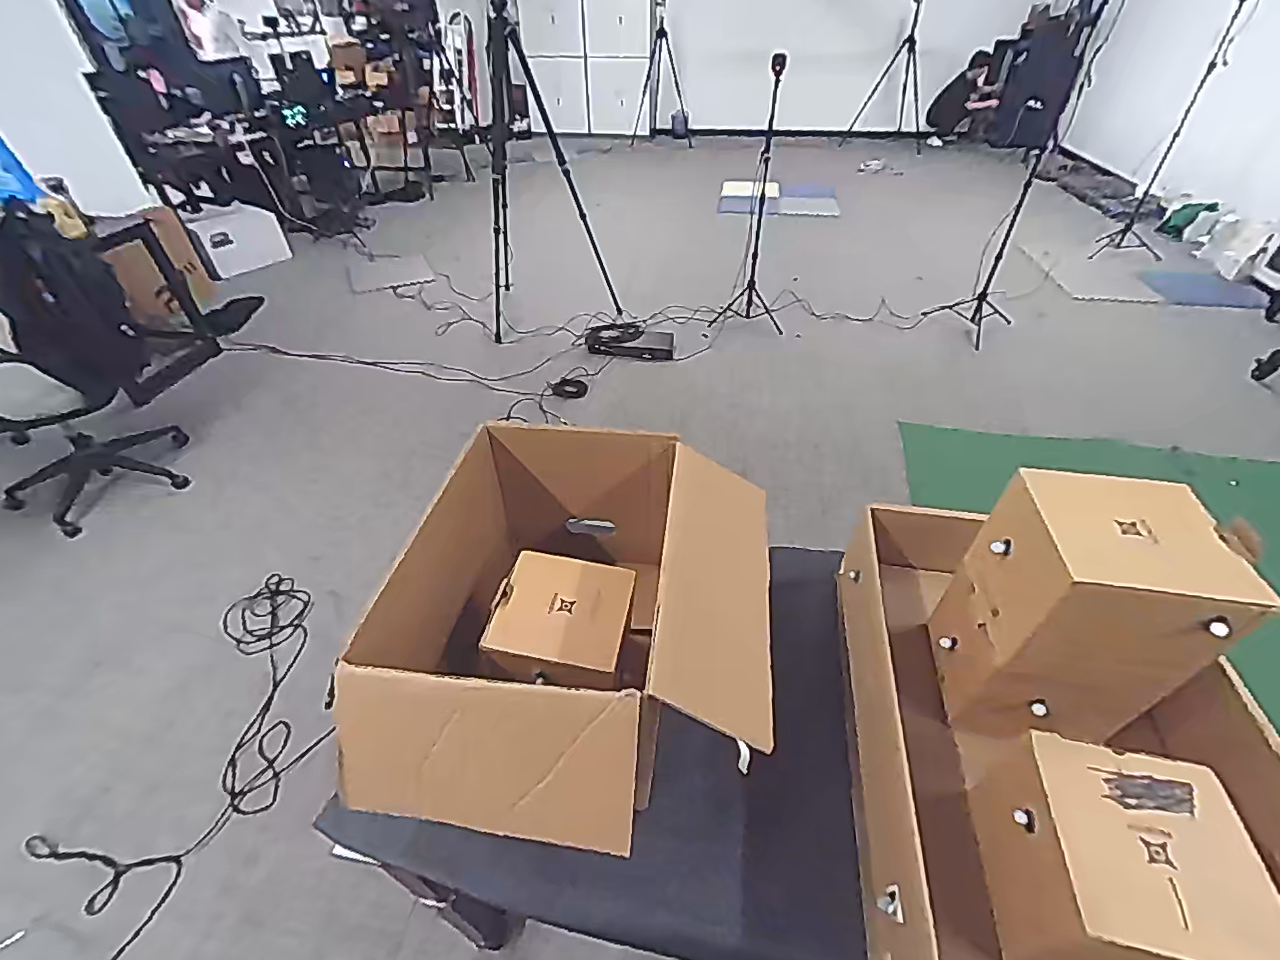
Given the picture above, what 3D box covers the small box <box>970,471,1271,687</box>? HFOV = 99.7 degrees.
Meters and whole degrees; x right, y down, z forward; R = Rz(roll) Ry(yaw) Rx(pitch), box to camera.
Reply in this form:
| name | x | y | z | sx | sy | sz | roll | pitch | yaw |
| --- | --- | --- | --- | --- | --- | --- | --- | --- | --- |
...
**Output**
| name | x | y | z | sx | sy | sz | roll | pitch | yaw |
| --- | --- | --- | --- | --- | --- | --- | --- | --- | --- |
| small box | 0.502 | 0.112 | 0.610 | 0.179 | 0.176 | 0.168 | 6 | 44 | 8 |
